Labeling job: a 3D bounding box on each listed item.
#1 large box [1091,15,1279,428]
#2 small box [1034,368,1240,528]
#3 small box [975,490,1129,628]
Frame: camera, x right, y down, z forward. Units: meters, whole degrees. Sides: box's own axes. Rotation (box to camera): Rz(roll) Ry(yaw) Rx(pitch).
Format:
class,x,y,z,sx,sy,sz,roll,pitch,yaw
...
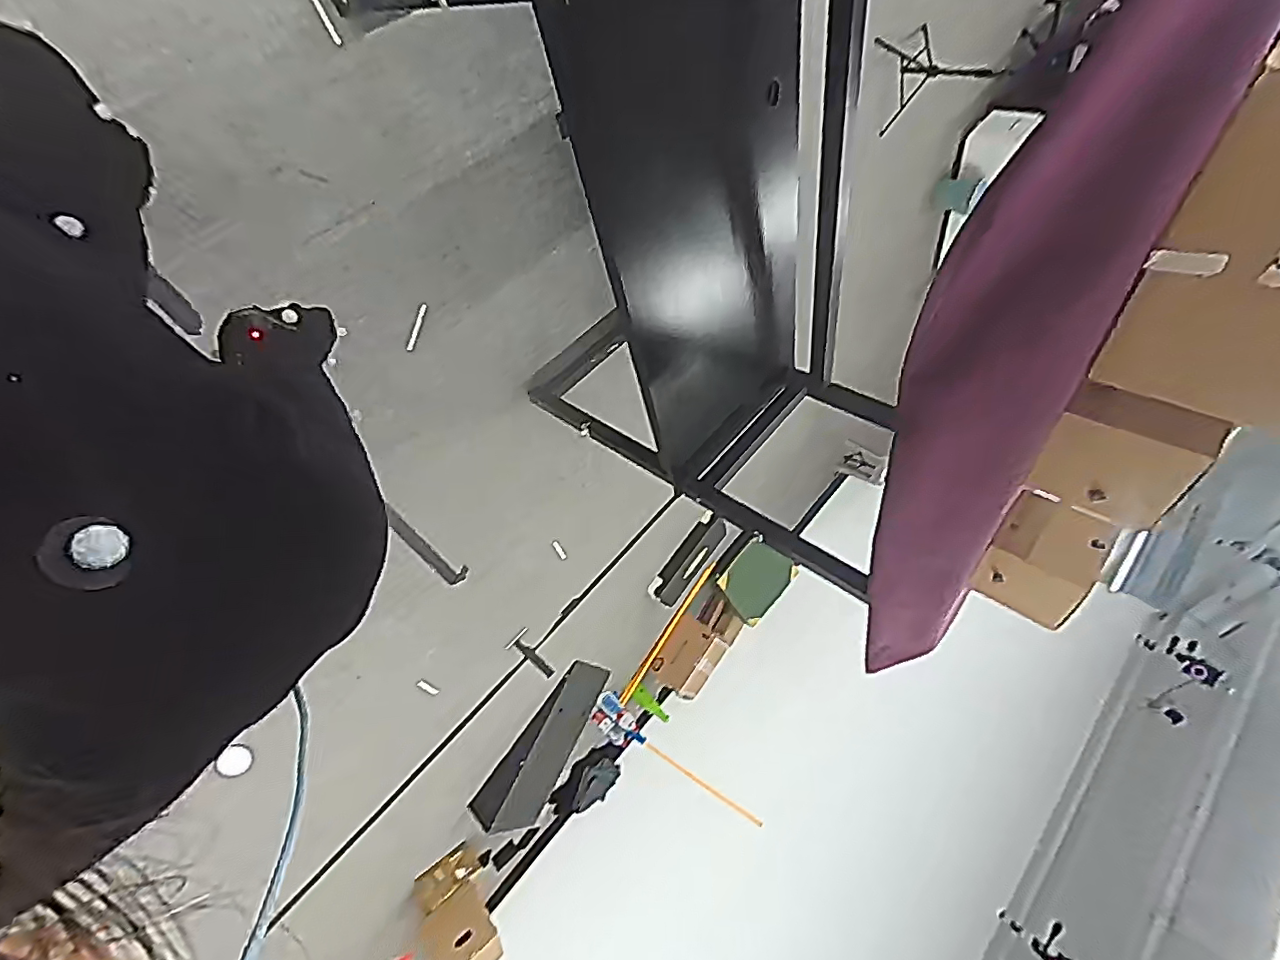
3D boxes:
class,x,y,z,sx,sy,sz,roll,pitch,yaw
large box,0.707,-0.280,0.485,0.408,0.320,0.320,-47,146,-18
small box,0.716,-0.068,0.790,0.168,0.176,0.179,-46,144,-20
small box,0.792,0.150,1.061,0.168,0.176,0.179,-45,145,-22
